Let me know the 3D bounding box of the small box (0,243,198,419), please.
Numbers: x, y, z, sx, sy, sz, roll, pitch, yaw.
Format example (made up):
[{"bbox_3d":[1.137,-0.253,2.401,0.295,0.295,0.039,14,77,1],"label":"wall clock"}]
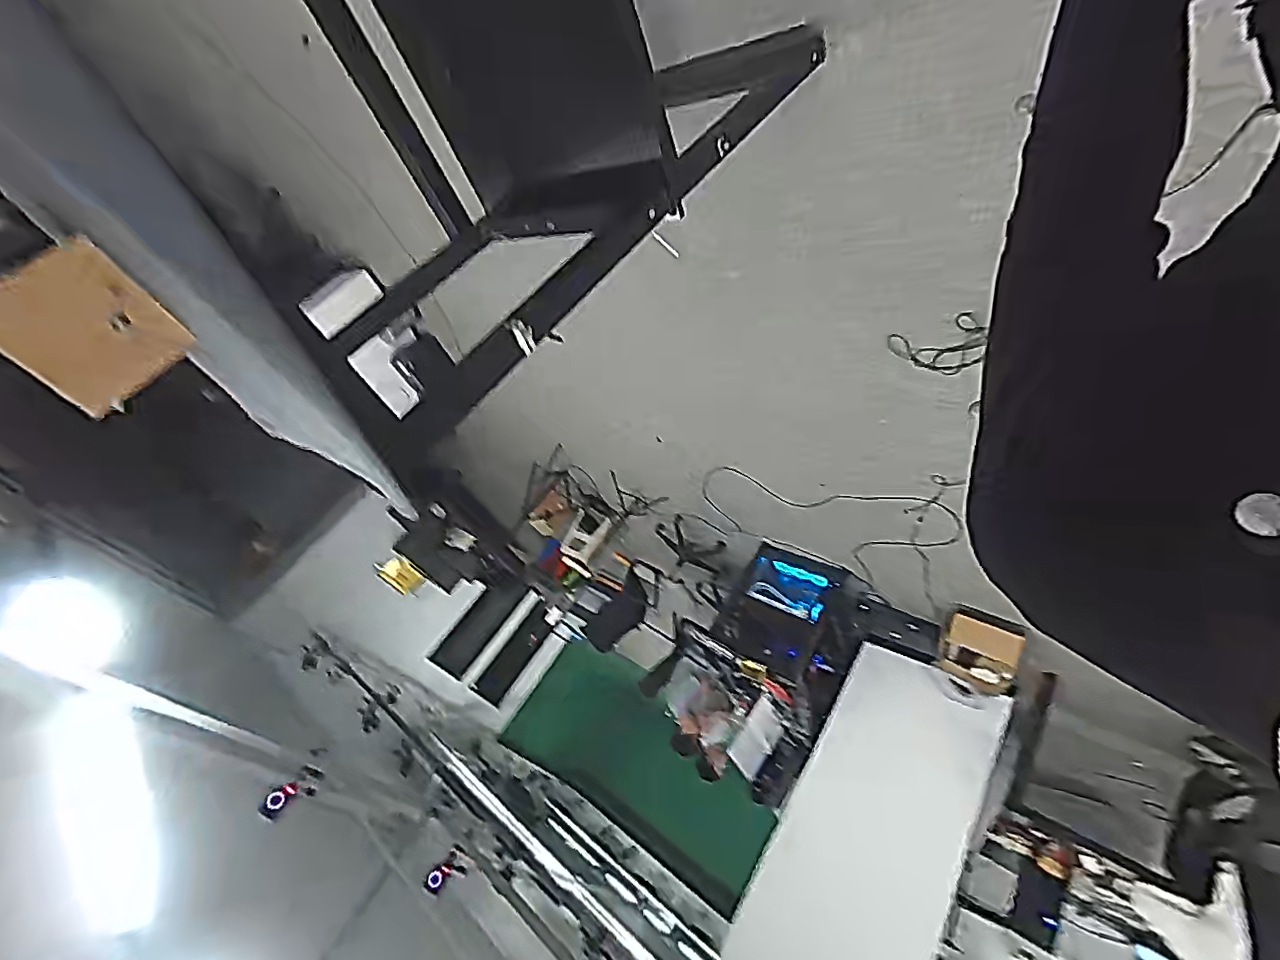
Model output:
[{"bbox_3d":[-0.780,-0.212,0.764,0.179,0.176,0.168,15,148,39],"label":"small box"}]
